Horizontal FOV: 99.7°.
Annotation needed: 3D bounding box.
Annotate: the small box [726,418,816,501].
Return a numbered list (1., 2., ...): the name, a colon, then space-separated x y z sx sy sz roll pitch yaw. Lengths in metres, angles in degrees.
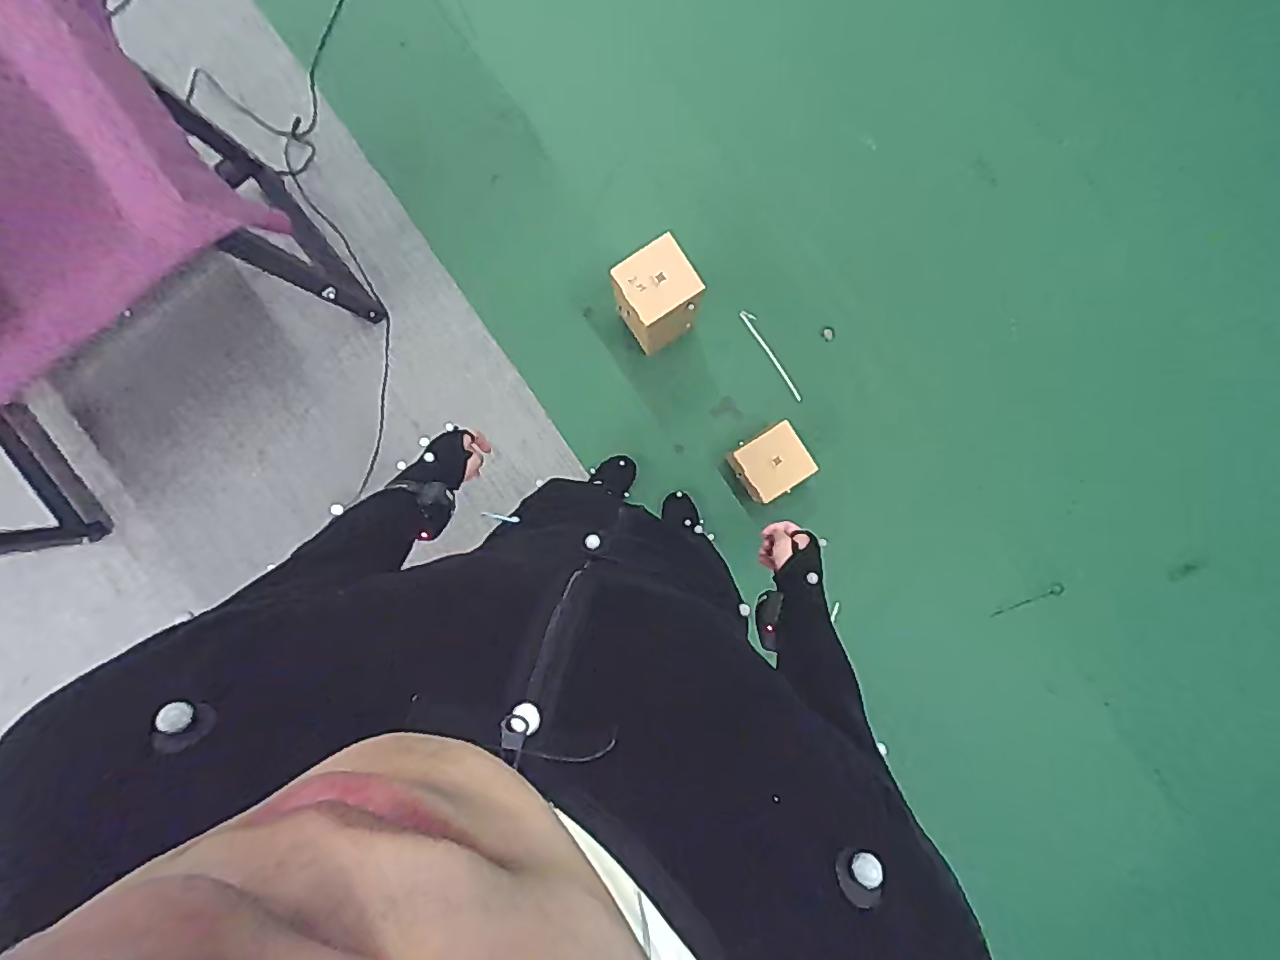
1. small box: 0.364 -0.059 1.540 0.179 0.176 0.168 -33 91 3

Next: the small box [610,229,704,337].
1. small box: 0.040 -0.491 1.372 0.179 0.176 0.168 -32 90 2
